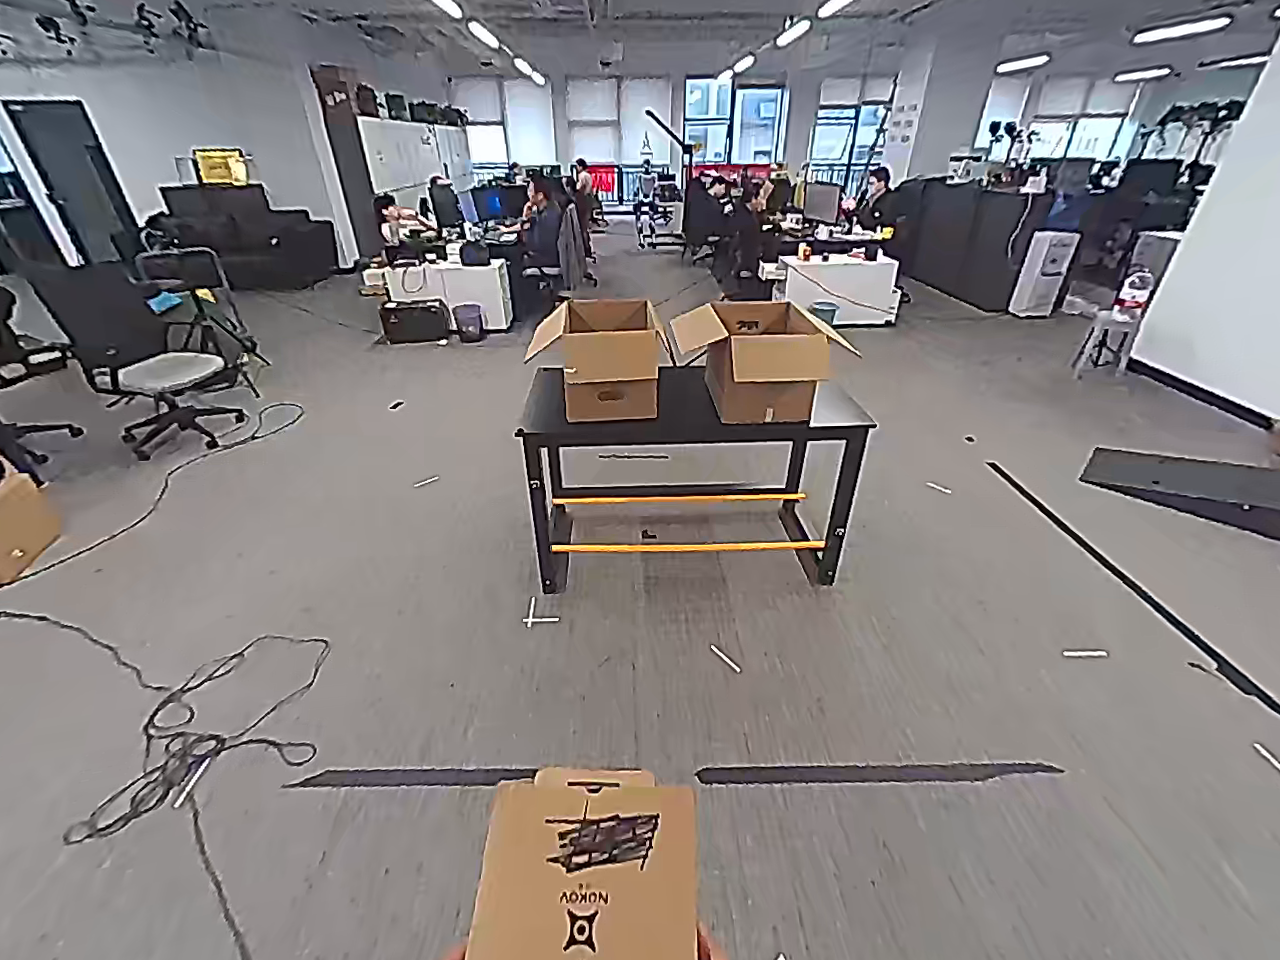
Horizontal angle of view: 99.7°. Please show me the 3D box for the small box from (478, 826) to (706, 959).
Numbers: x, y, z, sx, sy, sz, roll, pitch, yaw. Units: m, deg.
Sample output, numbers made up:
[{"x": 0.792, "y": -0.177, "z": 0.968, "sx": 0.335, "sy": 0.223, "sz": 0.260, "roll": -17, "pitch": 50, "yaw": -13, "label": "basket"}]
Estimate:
[{"x": -0.034, "y": 0.402, "z": 0.438, "sx": 0.168, "sy": 0.176, "sz": 0.179, "roll": 0, "pitch": 47, "yaw": 2, "label": "small box"}]
